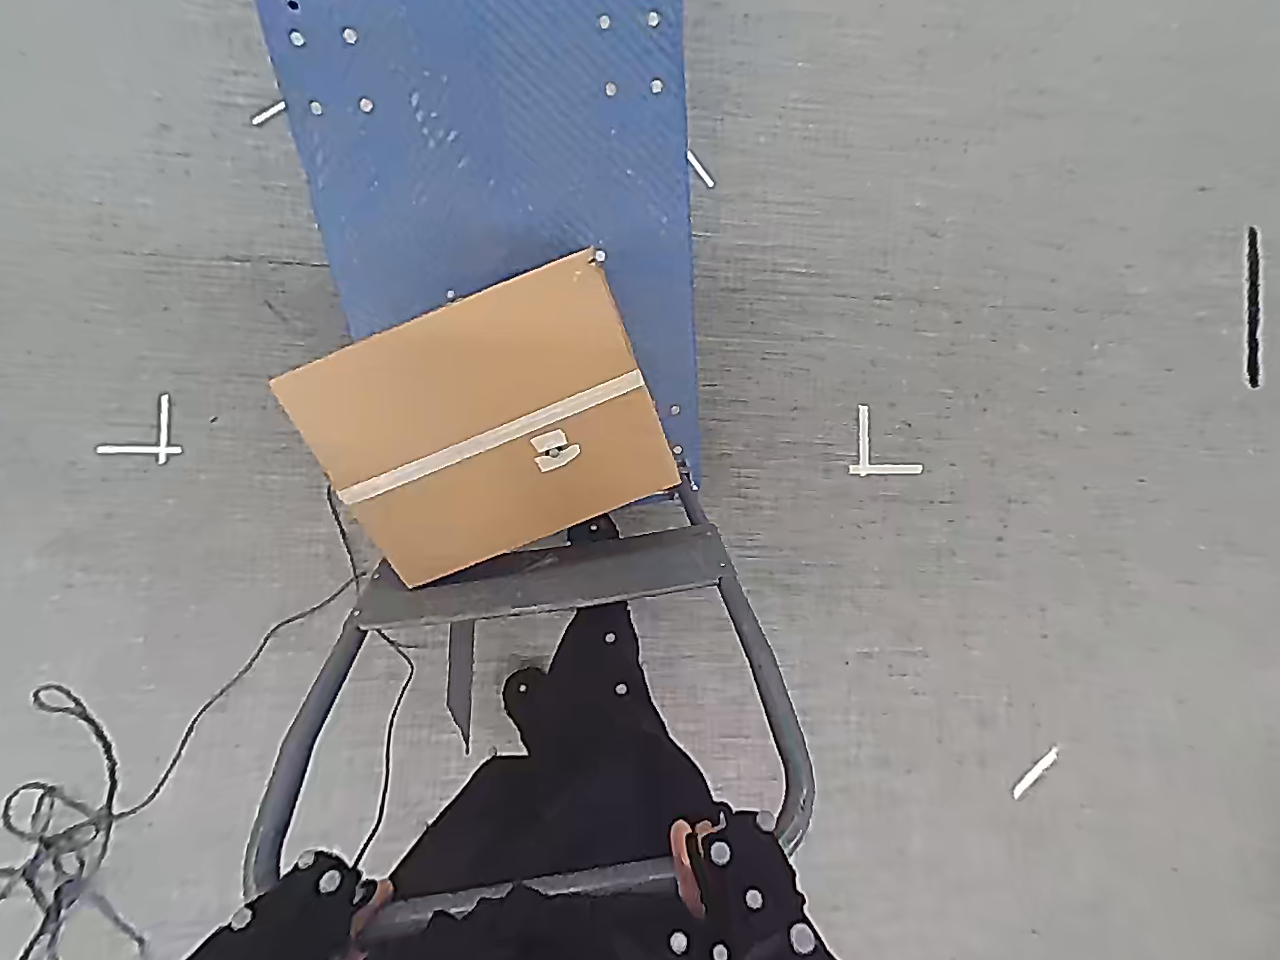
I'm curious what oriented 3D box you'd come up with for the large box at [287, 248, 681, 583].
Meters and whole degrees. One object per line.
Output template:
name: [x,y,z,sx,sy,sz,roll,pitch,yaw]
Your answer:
large box: [-0.197,-0.114,0.815,0.408,0.320,0.320,-22,114,1]
